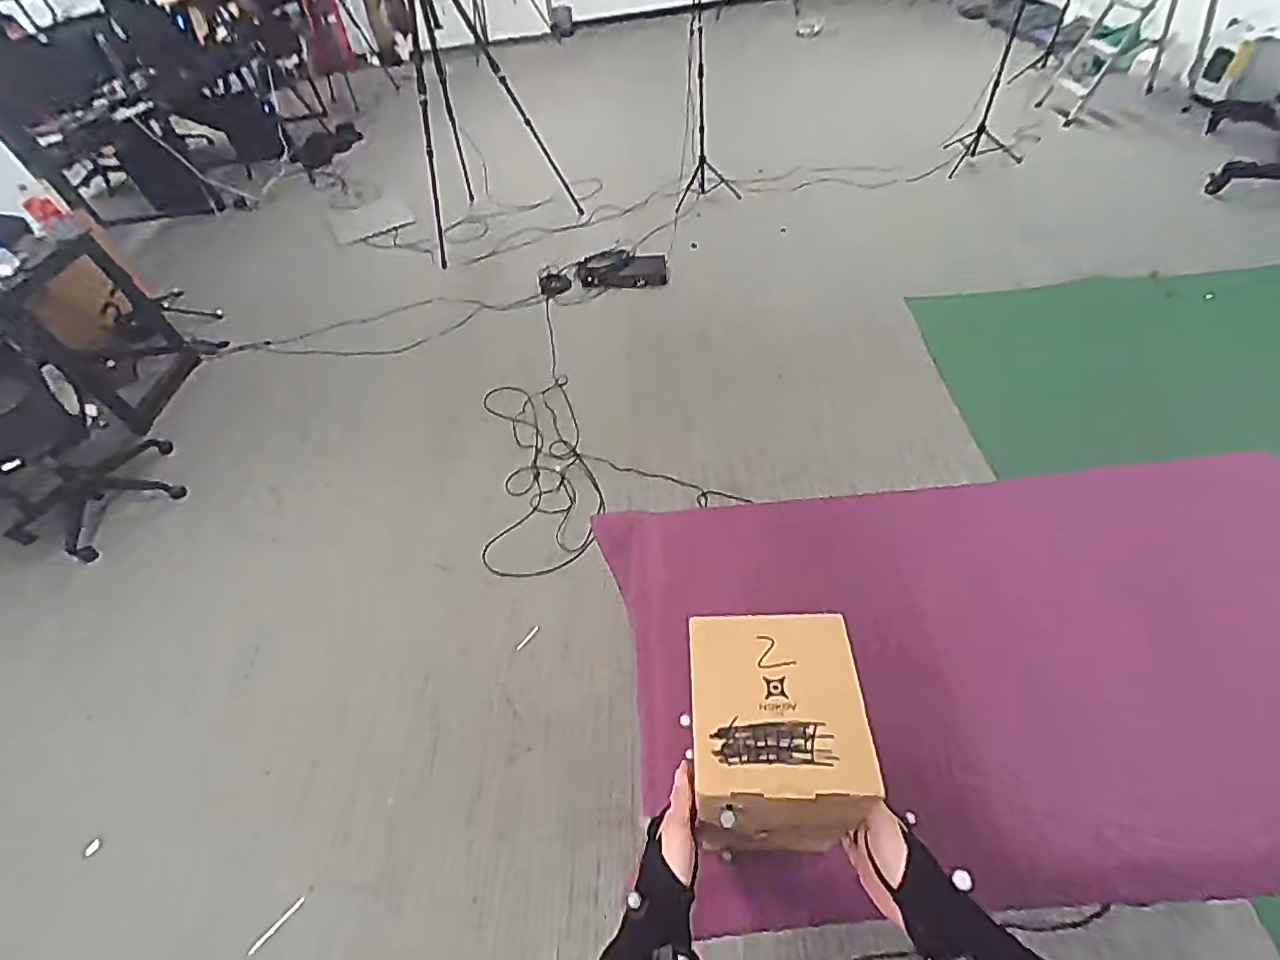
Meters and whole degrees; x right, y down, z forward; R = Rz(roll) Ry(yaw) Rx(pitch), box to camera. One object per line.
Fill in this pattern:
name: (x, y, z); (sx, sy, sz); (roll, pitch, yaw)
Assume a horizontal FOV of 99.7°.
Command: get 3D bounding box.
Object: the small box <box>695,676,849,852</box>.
small box: (0.160, 0.376, 0.711); (0.168, 0.176, 0.179); (-3, 48, 5)
